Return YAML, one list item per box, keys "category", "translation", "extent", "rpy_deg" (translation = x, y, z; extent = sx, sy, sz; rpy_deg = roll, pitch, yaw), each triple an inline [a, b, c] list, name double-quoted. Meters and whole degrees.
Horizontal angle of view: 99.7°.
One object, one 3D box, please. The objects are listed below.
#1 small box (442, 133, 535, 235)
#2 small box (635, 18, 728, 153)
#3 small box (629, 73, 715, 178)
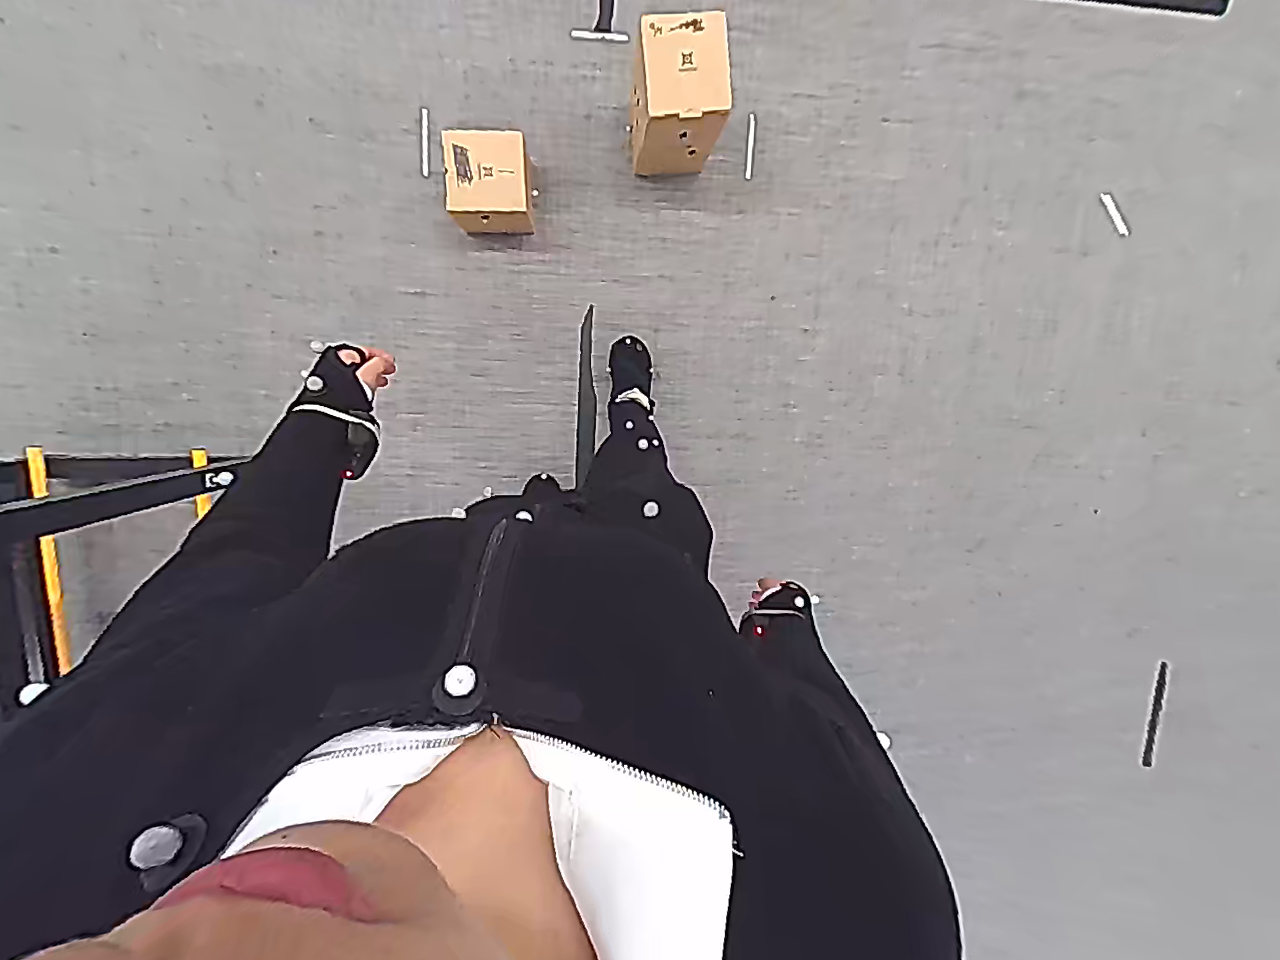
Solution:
- category: "small box"
  translation: [-0.346, -0.681, 1.262]
  extent: [0.179, 0.176, 0.168]
  rpy_deg: [-2, 99, -4]
- category: "small box"
  translation: [0.080, -0.796, 1.112]
  extent: [0.168, 0.176, 0.179]
  rpy_deg: [-6, 100, -4]
- category: "small box"
  translation: [0.070, -0.831, 1.271]
  extent: [0.179, 0.176, 0.168]
  rpy_deg: [-4, 99, -4]
